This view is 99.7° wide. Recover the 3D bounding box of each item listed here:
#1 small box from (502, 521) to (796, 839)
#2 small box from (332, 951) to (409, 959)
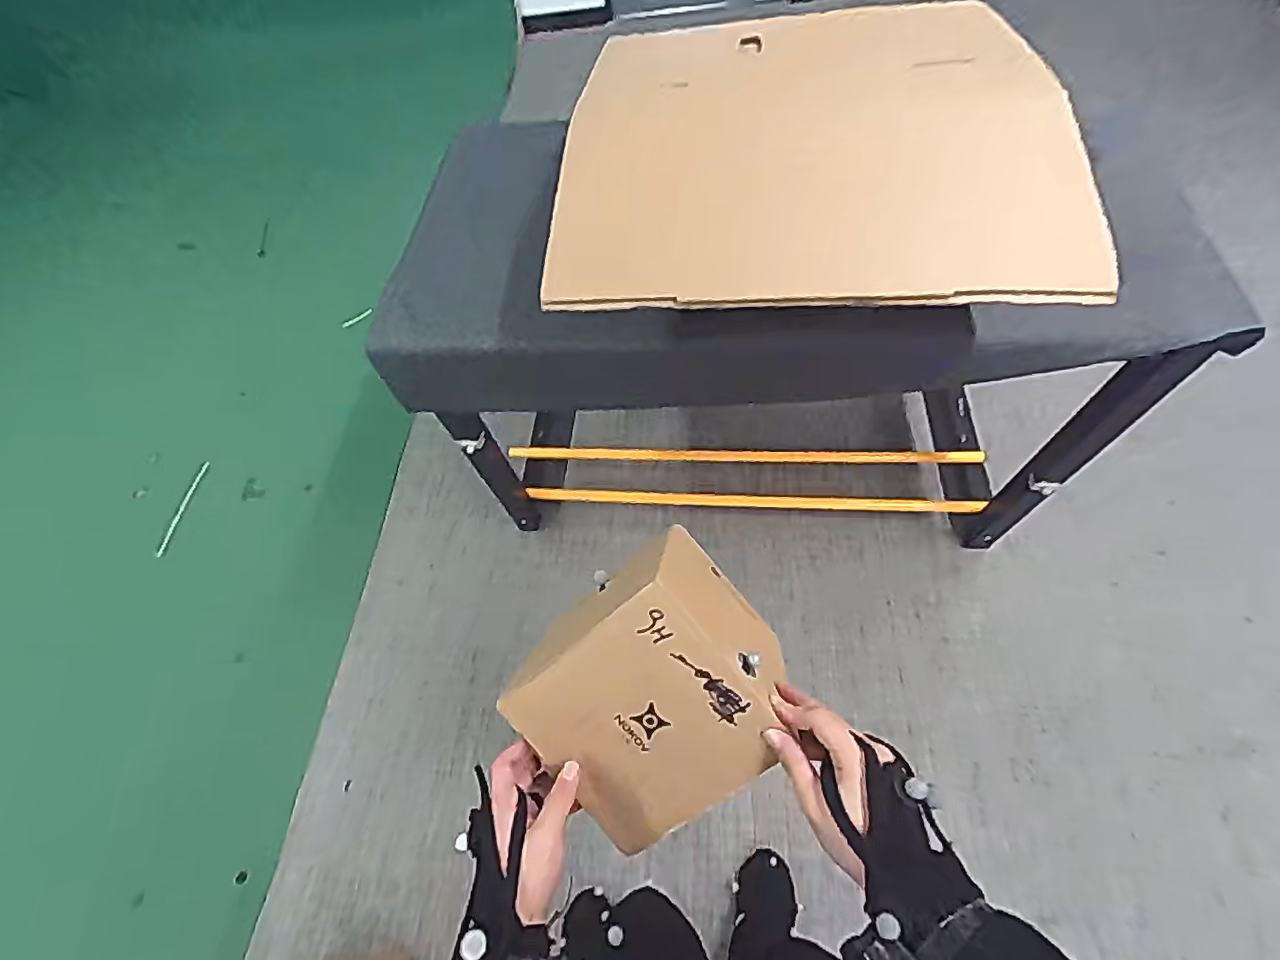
[{"bbox_3d":[0.016,0.163,0.491,0.179,0.176,0.168,-39,92,13],"label":"small box"},{"bbox_3d":[-0.528,0.955,0.945,0.179,0.176,0.168,-9,60,3],"label":"small box"}]
